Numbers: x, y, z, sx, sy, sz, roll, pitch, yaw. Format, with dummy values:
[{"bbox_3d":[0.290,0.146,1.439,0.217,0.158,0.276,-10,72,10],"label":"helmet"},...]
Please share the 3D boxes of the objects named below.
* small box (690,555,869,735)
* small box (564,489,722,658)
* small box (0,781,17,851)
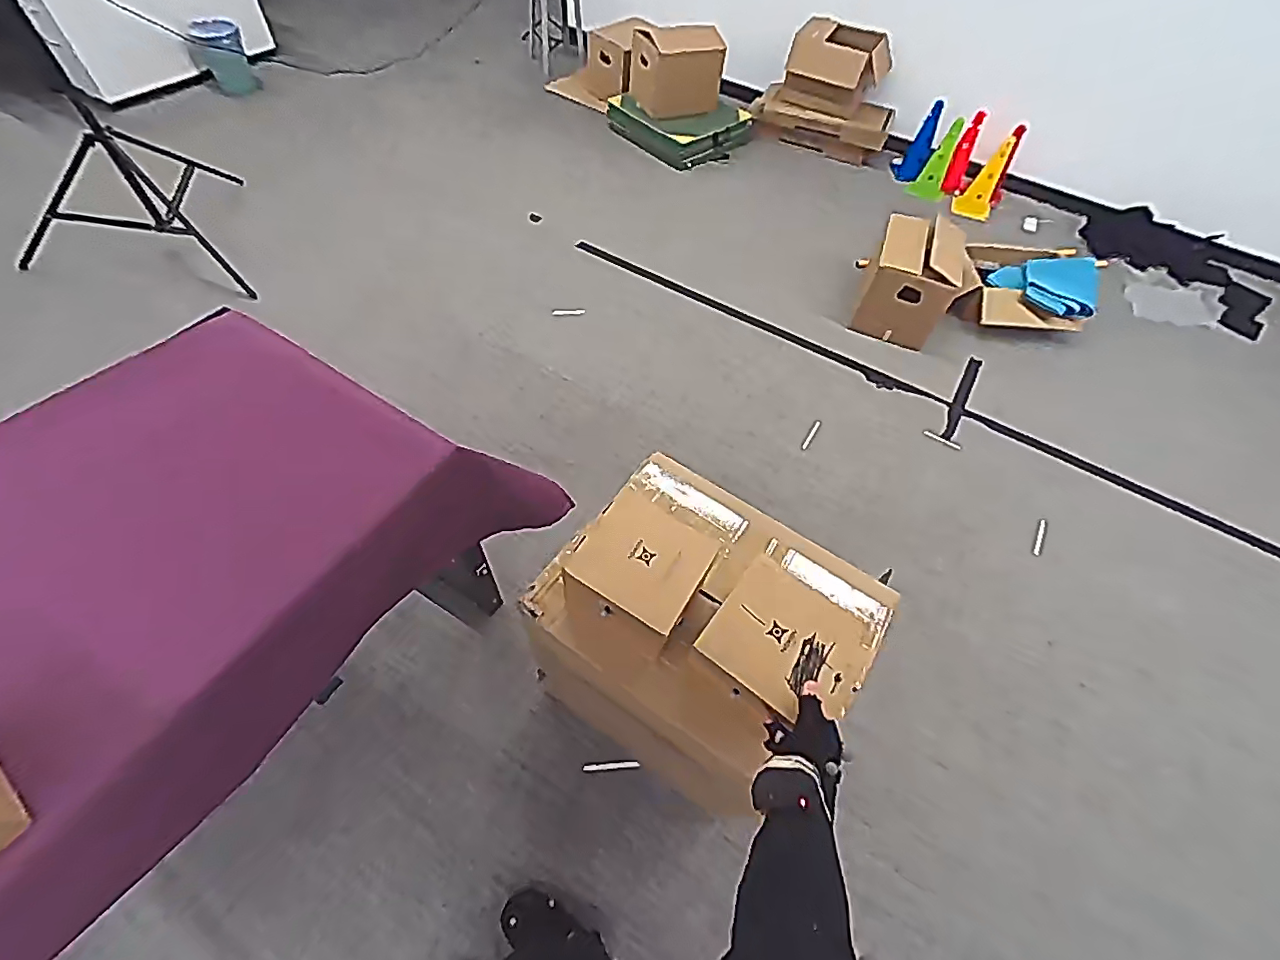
[{"bbox_3d":[0.189,0.241,0.782,0.179,0.176,0.168,34,69,18],"label":"small box"},{"bbox_3d":[0.000,0.151,0.841,0.179,0.176,0.168,30,61,13],"label":"small box"},{"bbox_3d":[-0.773,0.340,0.513,0.168,0.176,0.179,35,59,18],"label":"small box"}]
